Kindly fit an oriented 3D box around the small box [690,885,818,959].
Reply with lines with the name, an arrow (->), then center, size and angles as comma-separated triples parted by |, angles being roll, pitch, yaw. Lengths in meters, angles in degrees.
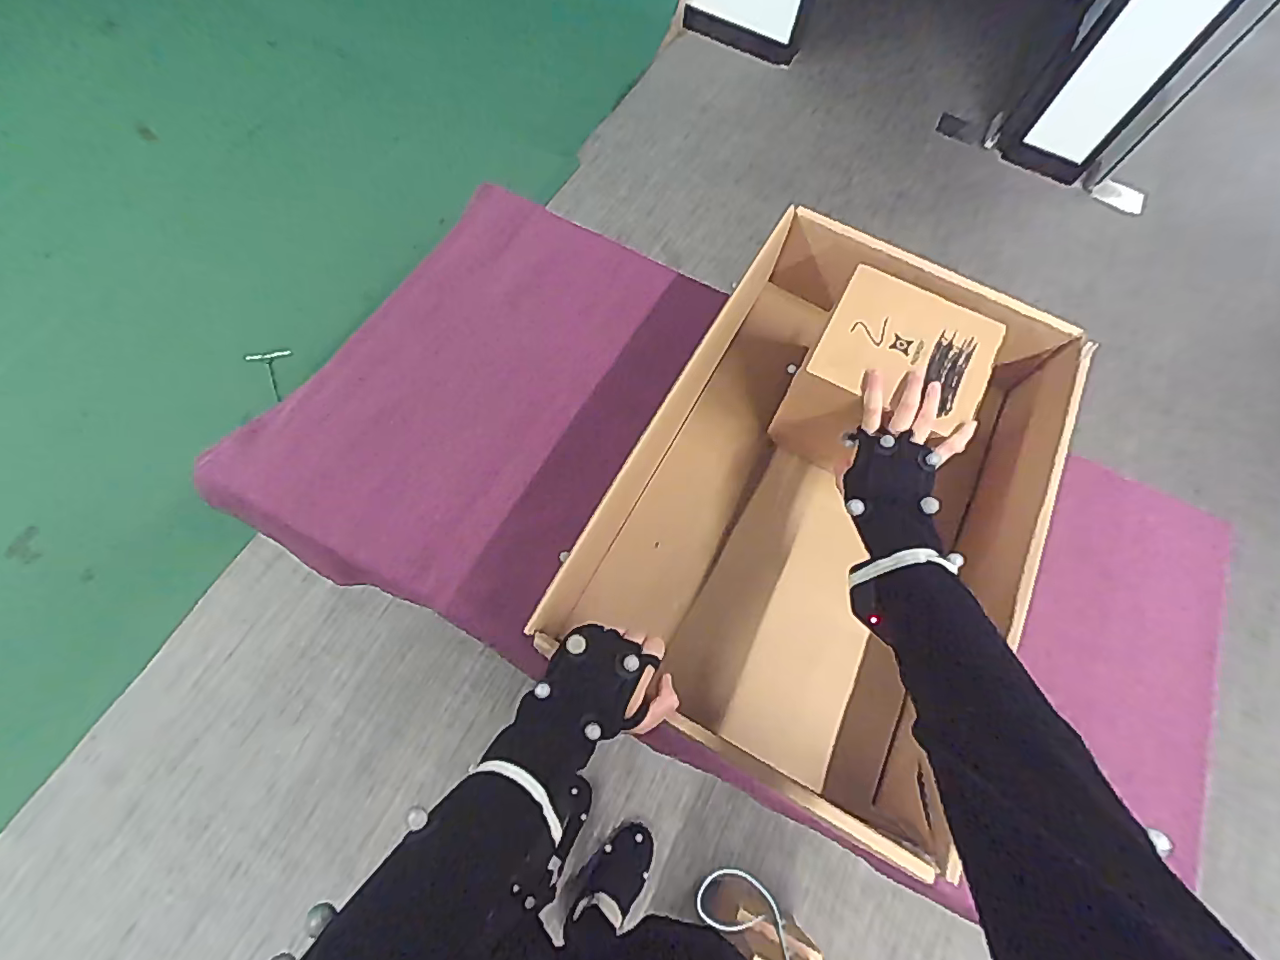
small box -> 0.218, 0.947, 1.068 | 0.179, 0.176, 0.168 | 26, 69, 7
